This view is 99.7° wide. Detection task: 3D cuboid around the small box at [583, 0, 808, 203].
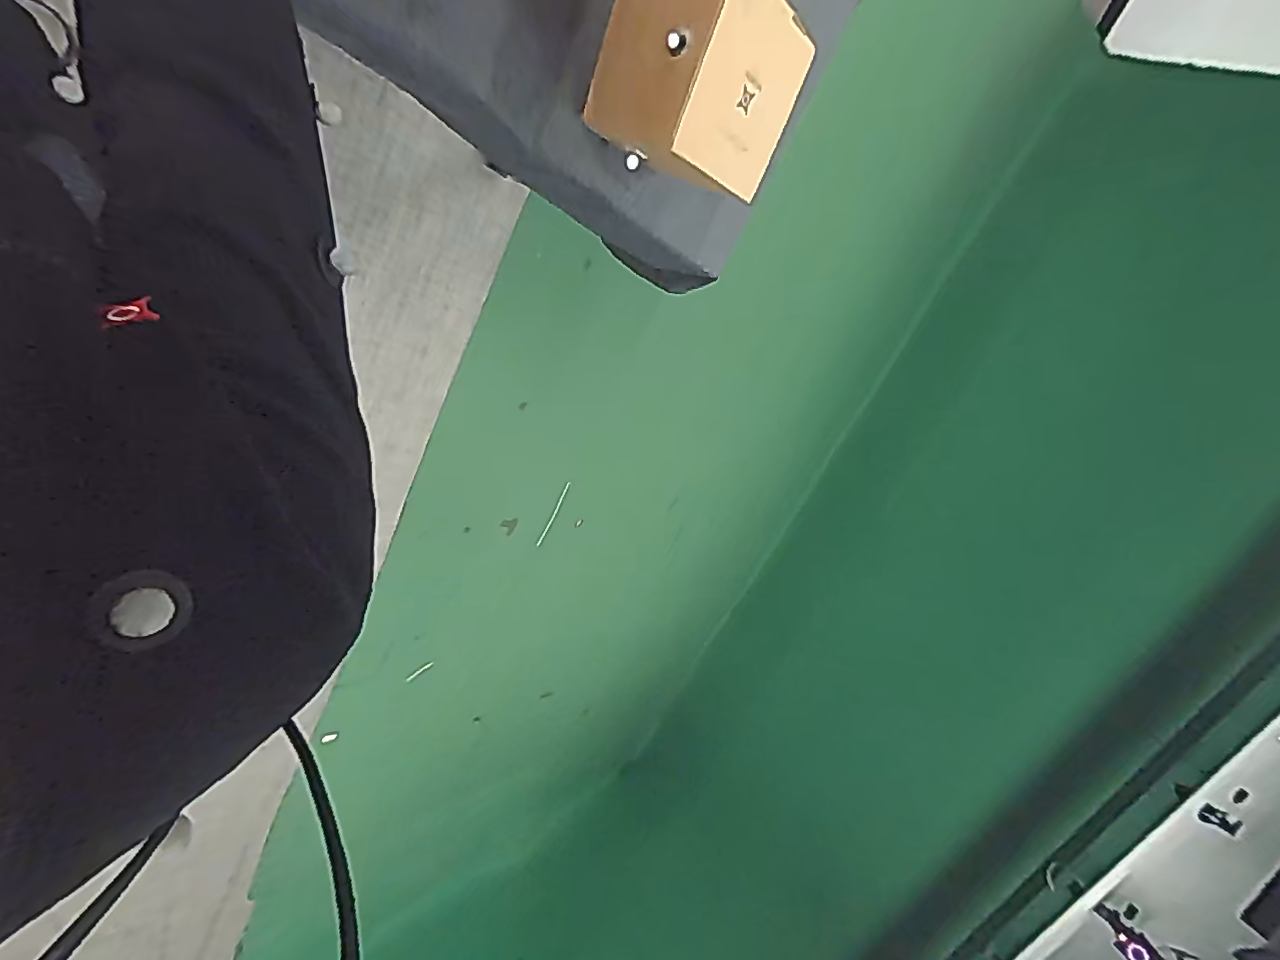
[{"bbox_3d":[0.059,-0.464,0.640,0.168,0.176,0.179,-4,125,-49],"label":"small box"}]
